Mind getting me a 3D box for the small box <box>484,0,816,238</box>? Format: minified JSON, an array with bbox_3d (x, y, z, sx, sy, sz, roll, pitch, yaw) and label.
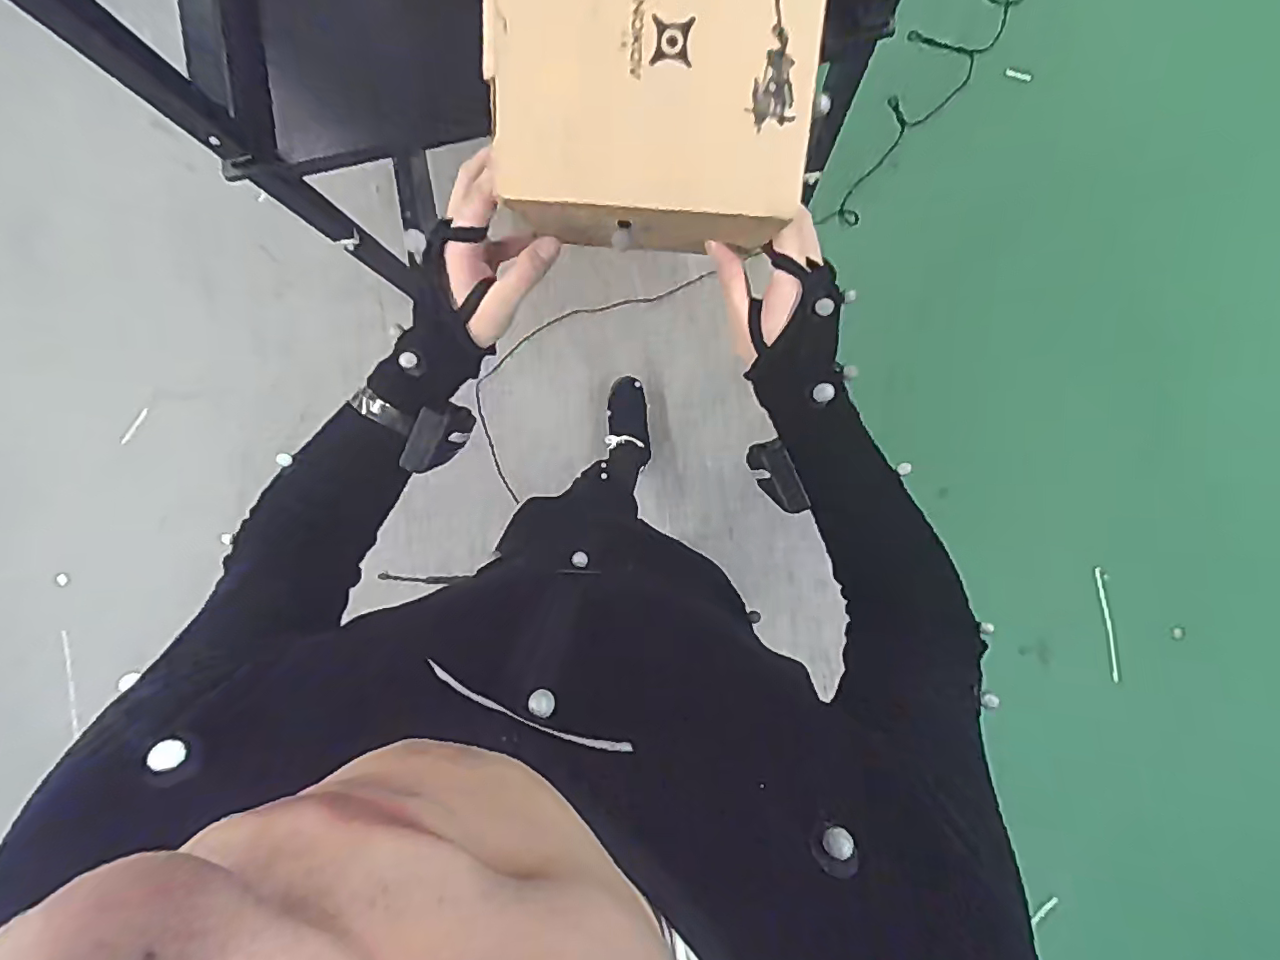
[{"bbox_3d":[0.008,-0.264,0.360,0.179,0.176,0.168,5,107,2],"label":"small box"}]
